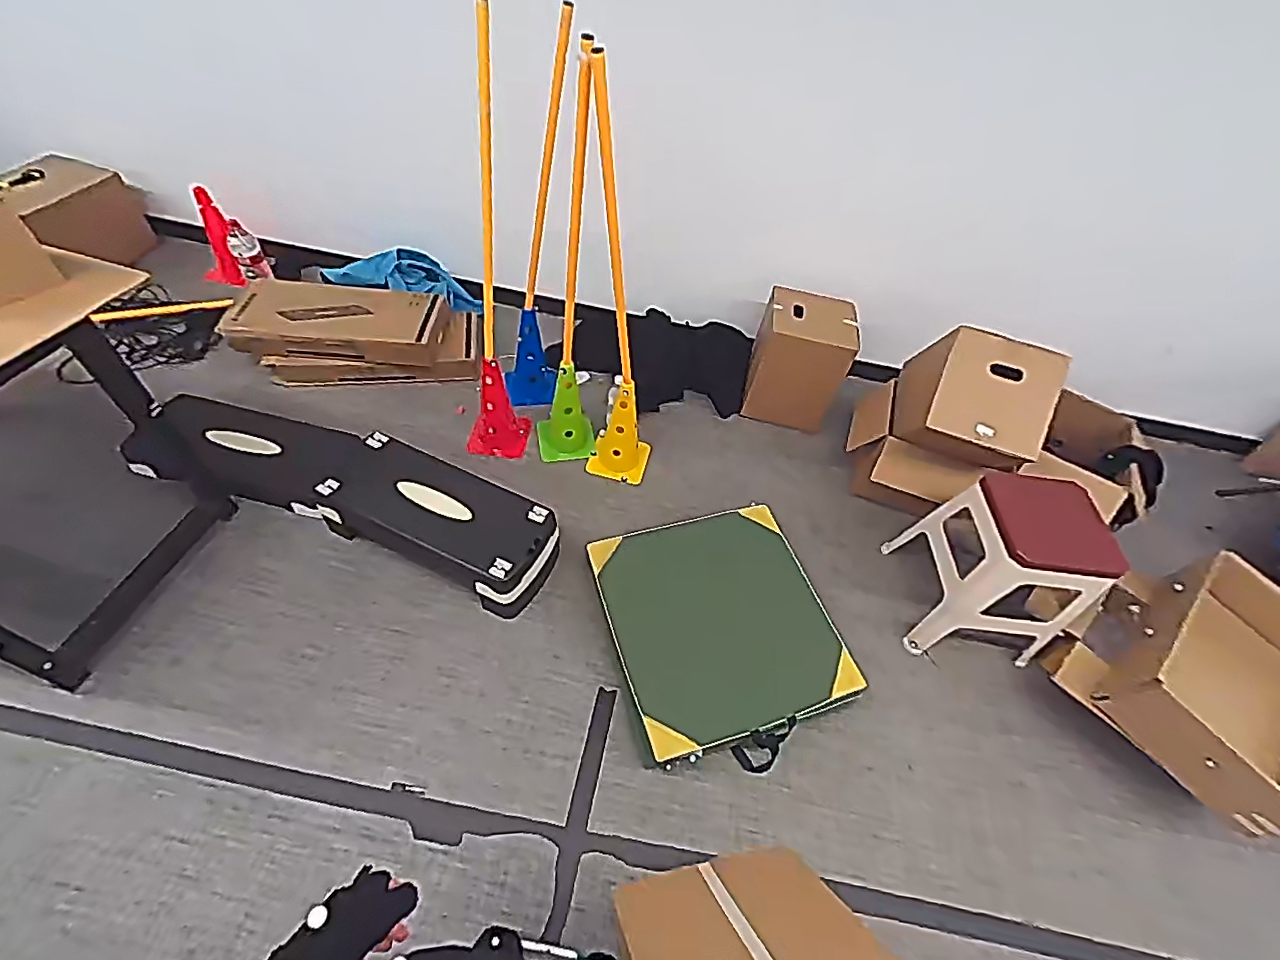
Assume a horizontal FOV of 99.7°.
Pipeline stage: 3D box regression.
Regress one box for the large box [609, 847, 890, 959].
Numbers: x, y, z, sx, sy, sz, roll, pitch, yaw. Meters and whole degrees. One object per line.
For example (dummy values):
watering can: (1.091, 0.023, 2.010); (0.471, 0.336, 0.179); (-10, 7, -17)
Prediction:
large box: (0.158, 0.765, 0.694); (0.320, 0.408, 0.320); (-5, 83, -14)
